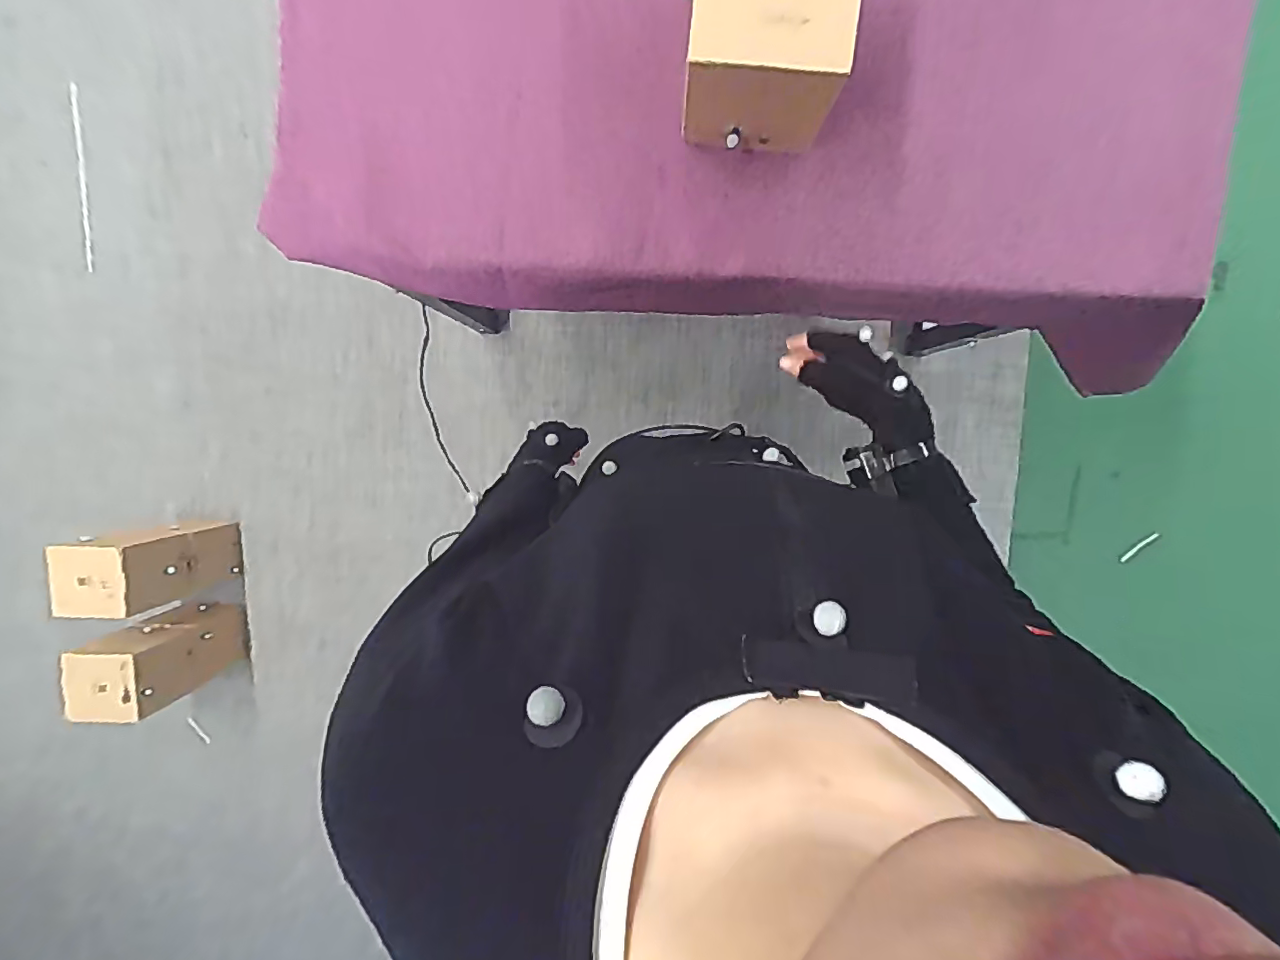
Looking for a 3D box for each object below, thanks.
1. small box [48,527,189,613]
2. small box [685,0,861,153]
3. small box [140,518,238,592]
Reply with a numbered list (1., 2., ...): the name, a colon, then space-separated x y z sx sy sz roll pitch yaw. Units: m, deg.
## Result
1. small box: -1.233 0.209 1.289 0.179 0.176 0.168 1 96 2
2. small box: 0.143 -0.510 0.613 0.168 0.176 0.179 7 96 2
3. small box: -1.220 0.195 1.453 0.179 0.176 0.168 1 95 3
